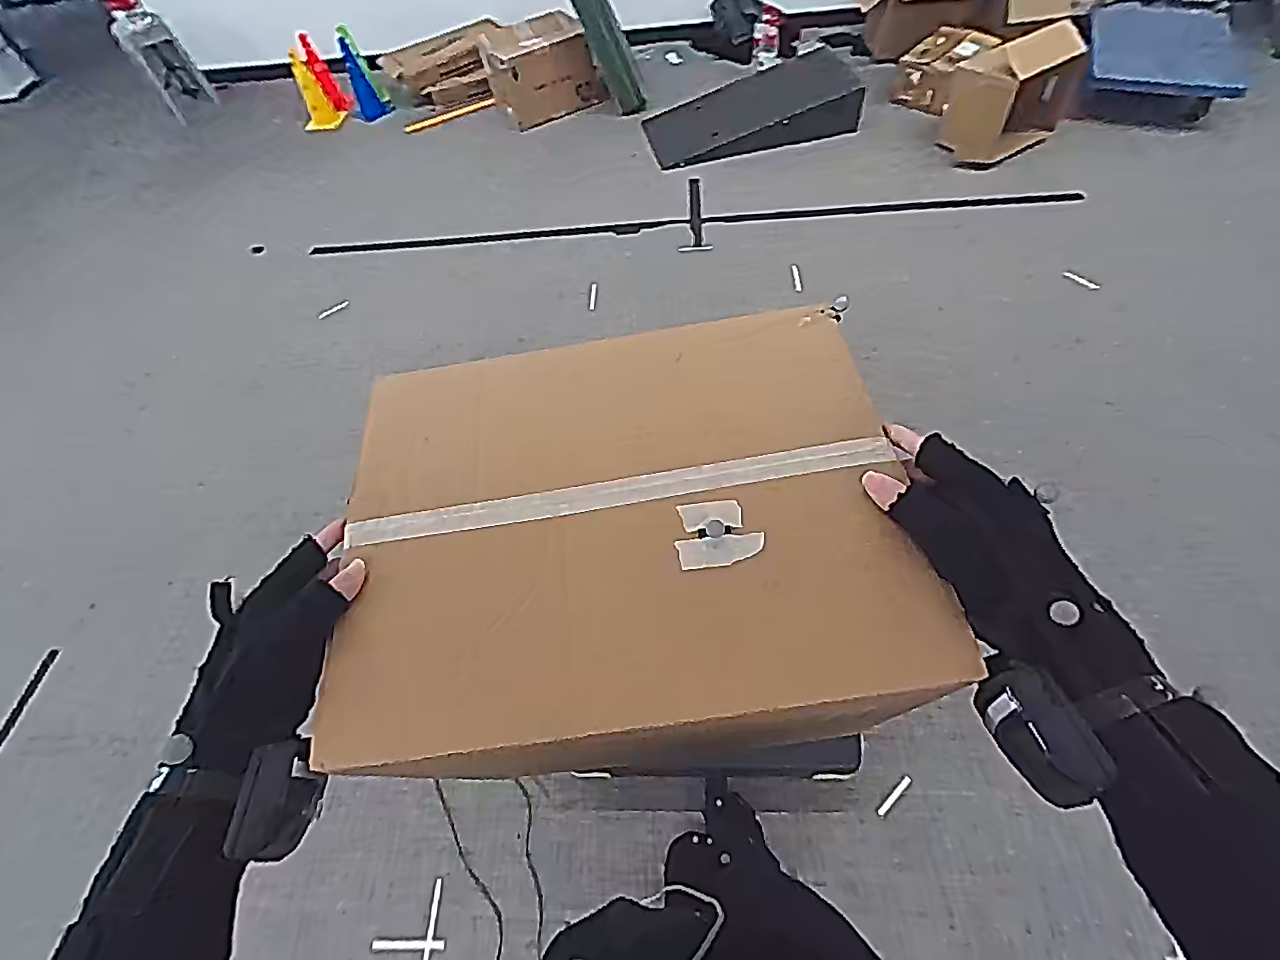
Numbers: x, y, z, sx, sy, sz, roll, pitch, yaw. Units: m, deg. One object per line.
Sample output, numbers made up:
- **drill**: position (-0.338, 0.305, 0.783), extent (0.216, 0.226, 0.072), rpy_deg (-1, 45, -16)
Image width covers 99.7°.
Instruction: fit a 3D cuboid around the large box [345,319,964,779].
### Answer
- **large box**: position (0.002, 0.091, 0.539), extent (0.408, 0.320, 0.320), rpy_deg (-9, 60, 1)
